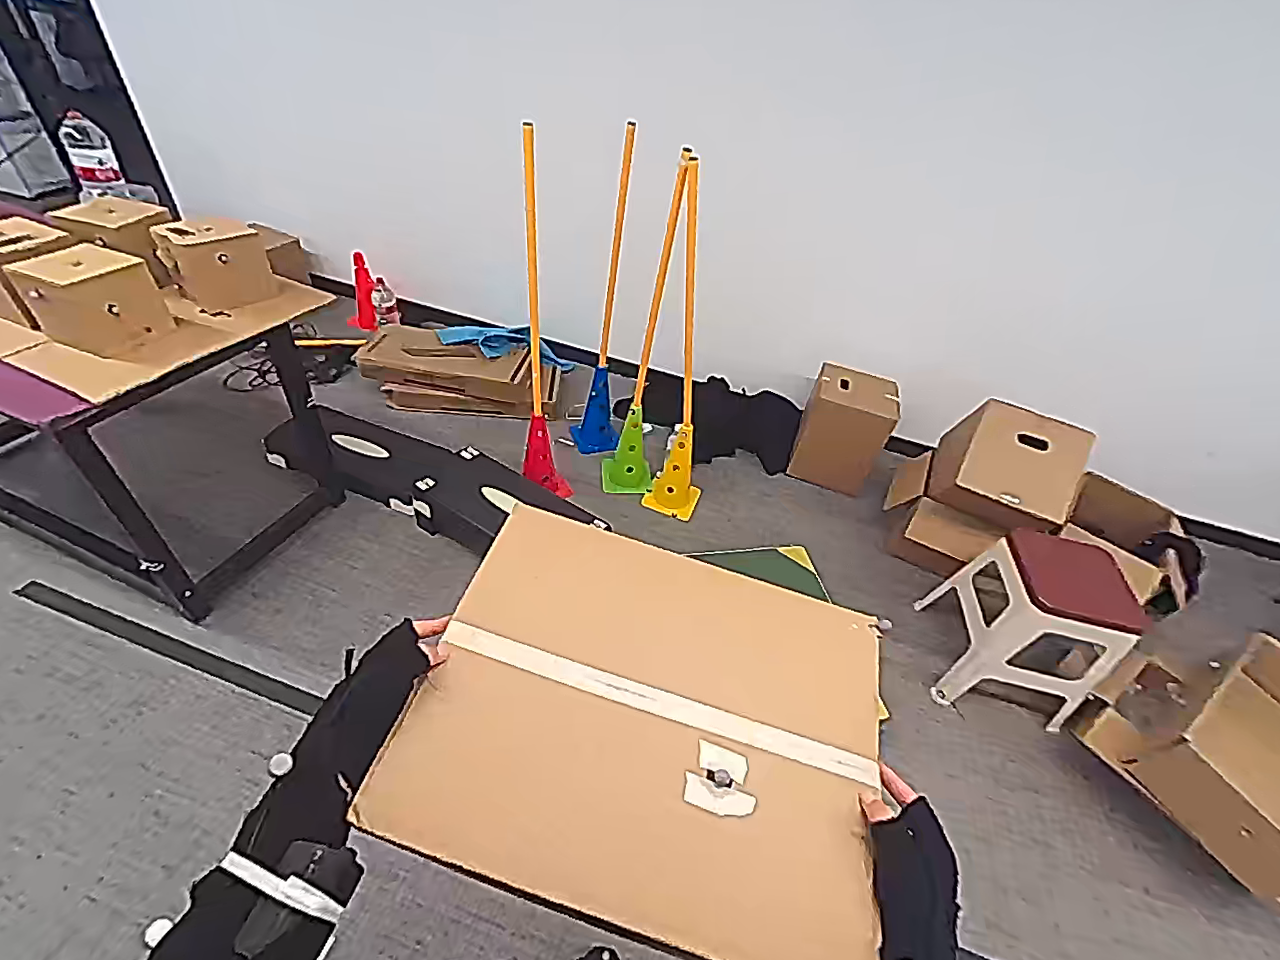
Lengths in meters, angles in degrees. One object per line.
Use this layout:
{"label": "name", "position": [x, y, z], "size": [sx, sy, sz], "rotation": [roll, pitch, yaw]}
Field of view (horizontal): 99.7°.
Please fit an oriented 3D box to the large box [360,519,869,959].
{"label": "large box", "position": [-0.011, 0.300, 0.606], "size": [0.408, 0.320, 0.320], "rotation": [18, 51, 3]}
